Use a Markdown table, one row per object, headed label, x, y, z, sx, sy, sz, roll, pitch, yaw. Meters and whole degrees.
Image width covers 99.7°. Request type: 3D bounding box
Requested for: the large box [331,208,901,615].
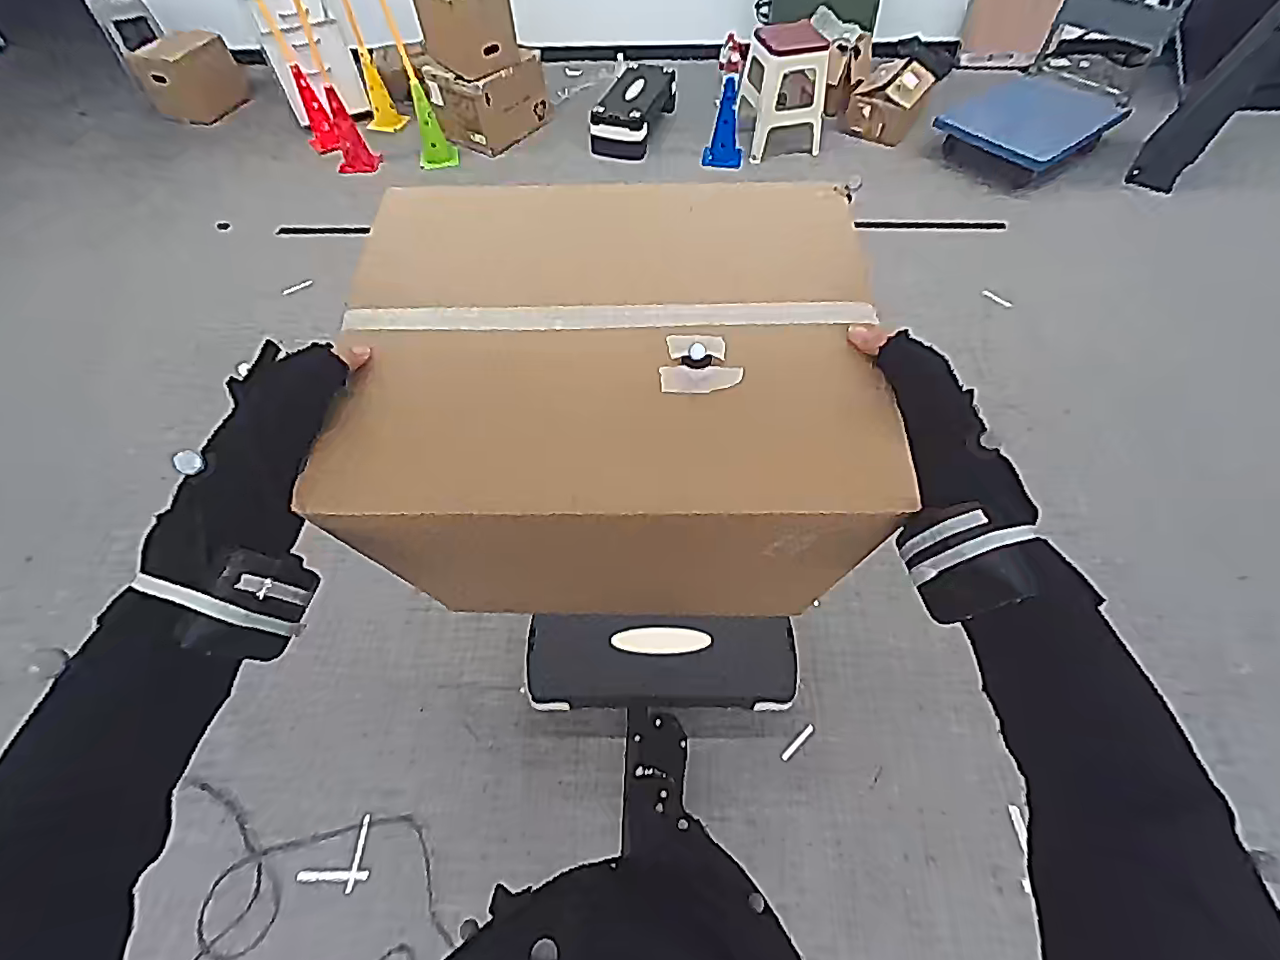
| label | x | y | z | sx | sy | sz | roll | pitch | yaw |
| --- | --- | --- | --- | --- | --- | --- | --- | --- | --- |
| large box | -0.017 | -0.048 | 0.570 | 0.408 | 0.320 | 0.320 | 0 | 64 | 1 |
